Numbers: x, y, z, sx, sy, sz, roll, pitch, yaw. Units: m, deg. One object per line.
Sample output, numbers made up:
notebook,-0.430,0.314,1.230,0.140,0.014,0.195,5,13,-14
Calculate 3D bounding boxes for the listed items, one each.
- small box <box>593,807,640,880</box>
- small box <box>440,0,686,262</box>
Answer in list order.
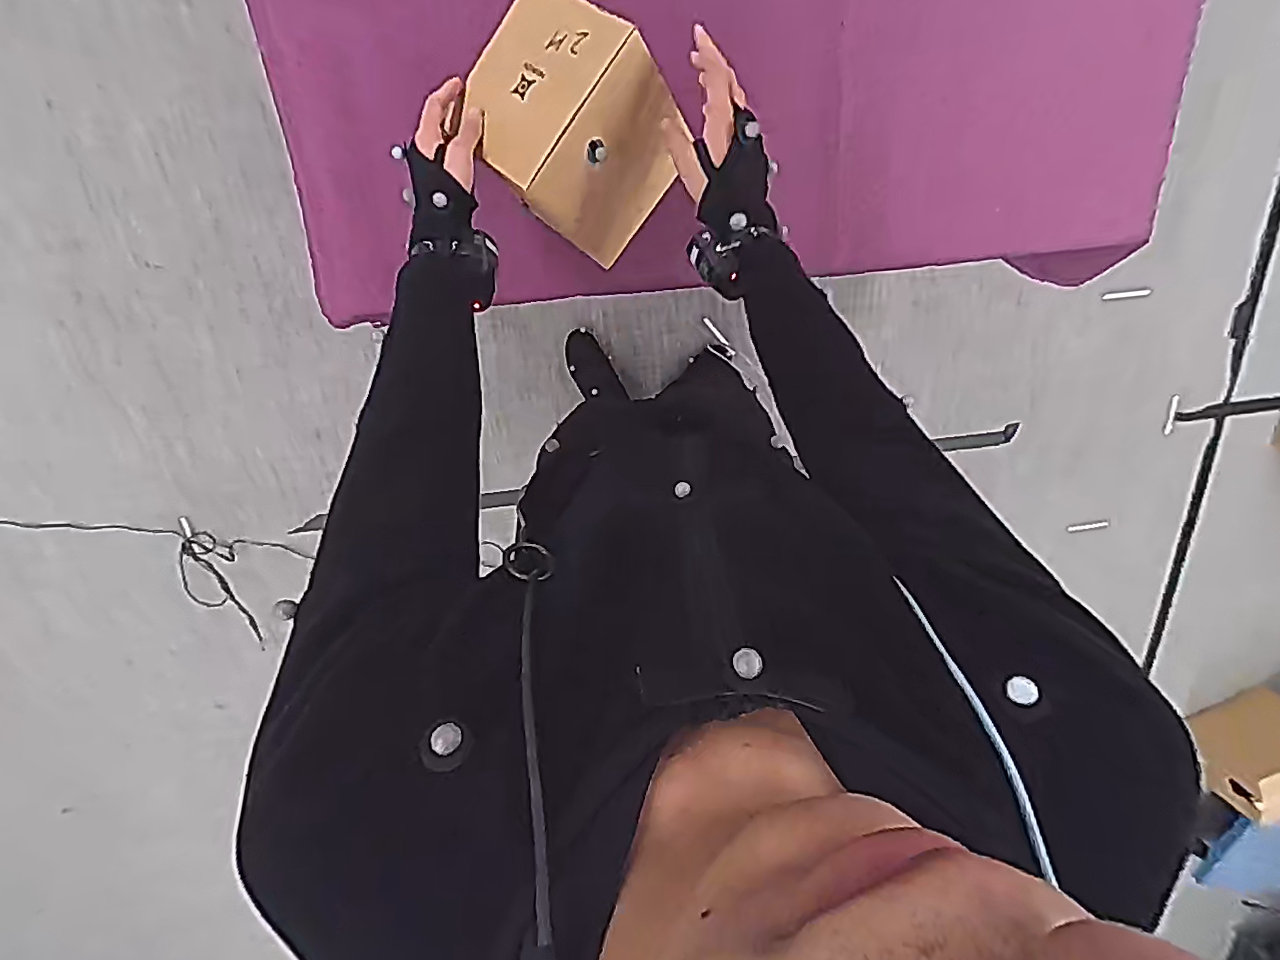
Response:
small box,-0.094,1.409,2.109,0.168,0.176,0.179,-5,112,-5
small box,-0.076,-0.381,0.602,0.168,0.176,0.179,45,103,22
